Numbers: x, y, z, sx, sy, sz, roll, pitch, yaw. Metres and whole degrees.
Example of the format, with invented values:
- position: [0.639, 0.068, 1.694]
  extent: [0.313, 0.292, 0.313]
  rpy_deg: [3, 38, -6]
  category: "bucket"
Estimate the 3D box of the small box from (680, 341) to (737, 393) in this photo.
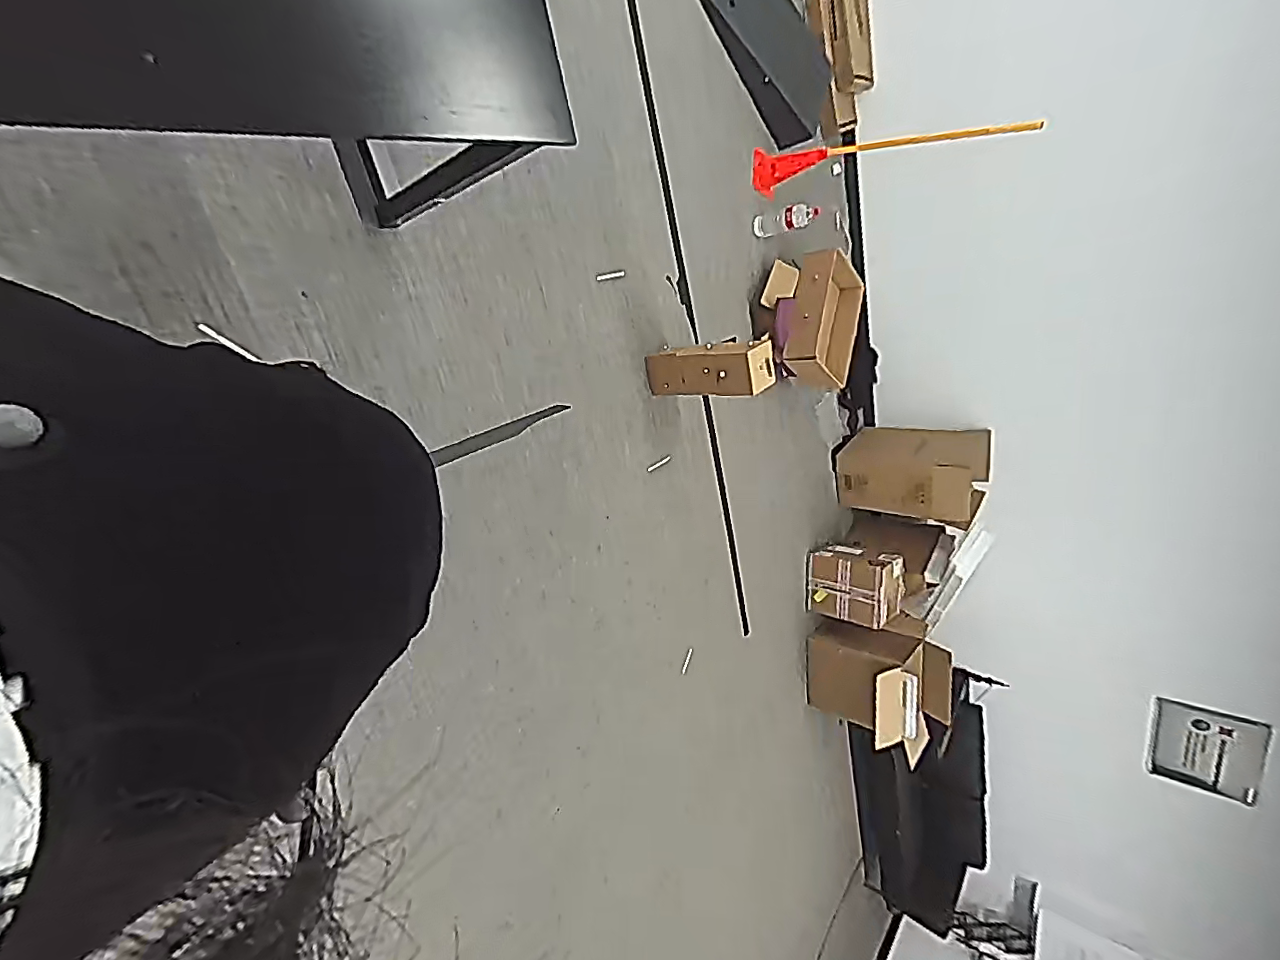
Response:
- position: [0.285, -0.450, 2.155]
  extent: [0.179, 0.176, 0.168]
  rpy_deg: [-34, 119, -41]
  category: "small box"

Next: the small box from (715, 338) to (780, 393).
- position: [0.408, -0.432, 2.045]
  extent: [0.179, 0.176, 0.168]
  rpy_deg: [-33, 118, -39]
  category: "small box"

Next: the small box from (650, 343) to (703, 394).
- position: [0.166, -0.465, 2.266]
  extent: [0.168, 0.176, 0.179]
  rpy_deg: [-32, 116, -41]
  category: "small box"
